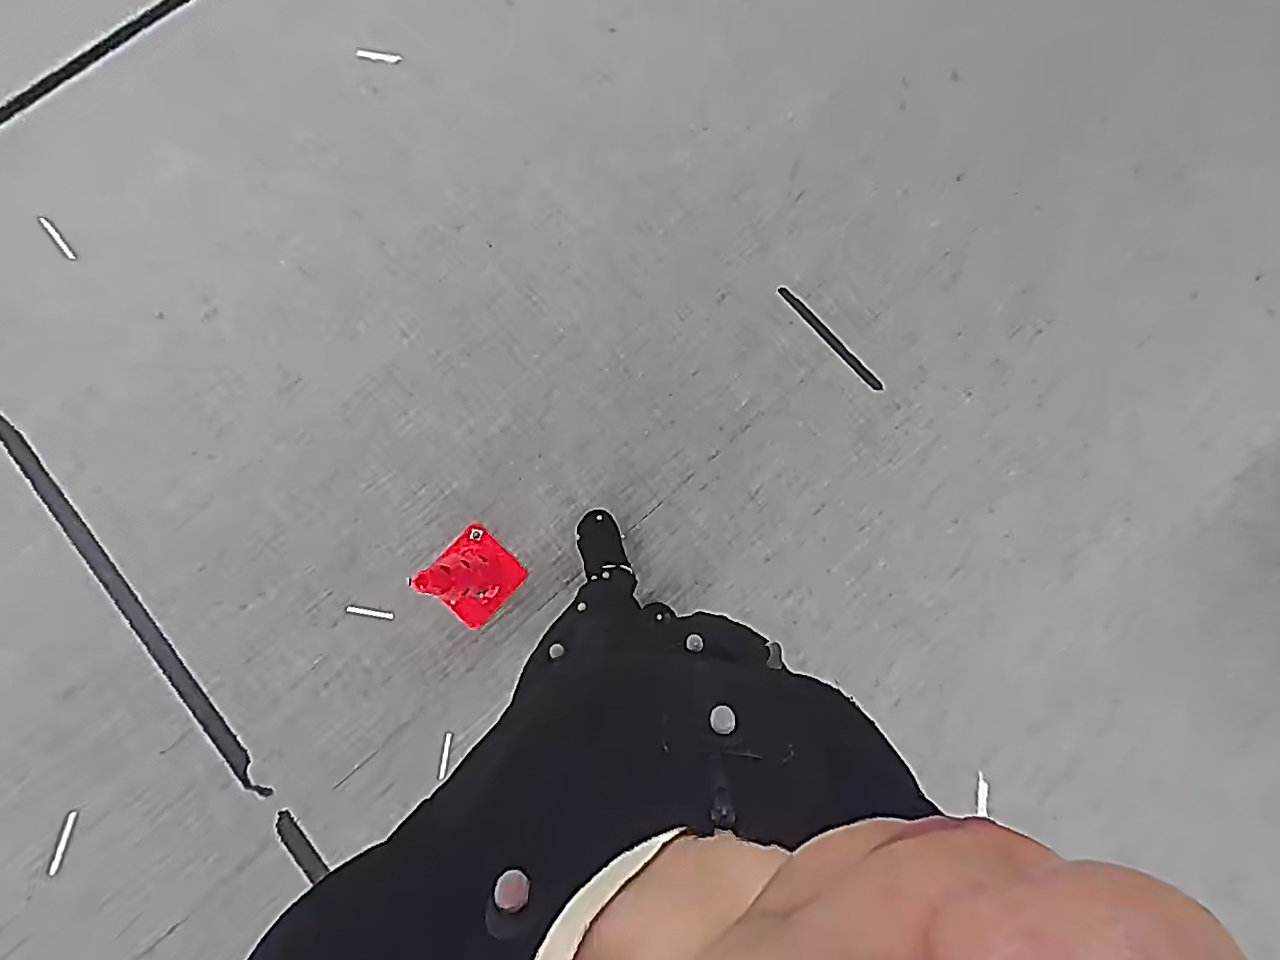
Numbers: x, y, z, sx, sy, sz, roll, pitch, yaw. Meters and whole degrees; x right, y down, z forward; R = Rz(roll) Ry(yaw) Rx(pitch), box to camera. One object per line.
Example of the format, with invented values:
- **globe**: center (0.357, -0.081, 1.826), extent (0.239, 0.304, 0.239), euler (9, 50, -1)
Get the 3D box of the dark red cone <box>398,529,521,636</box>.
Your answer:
- **dark red cone**: center (-0.415, 0.227, 1.154), extent (0.202, 0.394, 0.201), euler (42, 85, 5)
